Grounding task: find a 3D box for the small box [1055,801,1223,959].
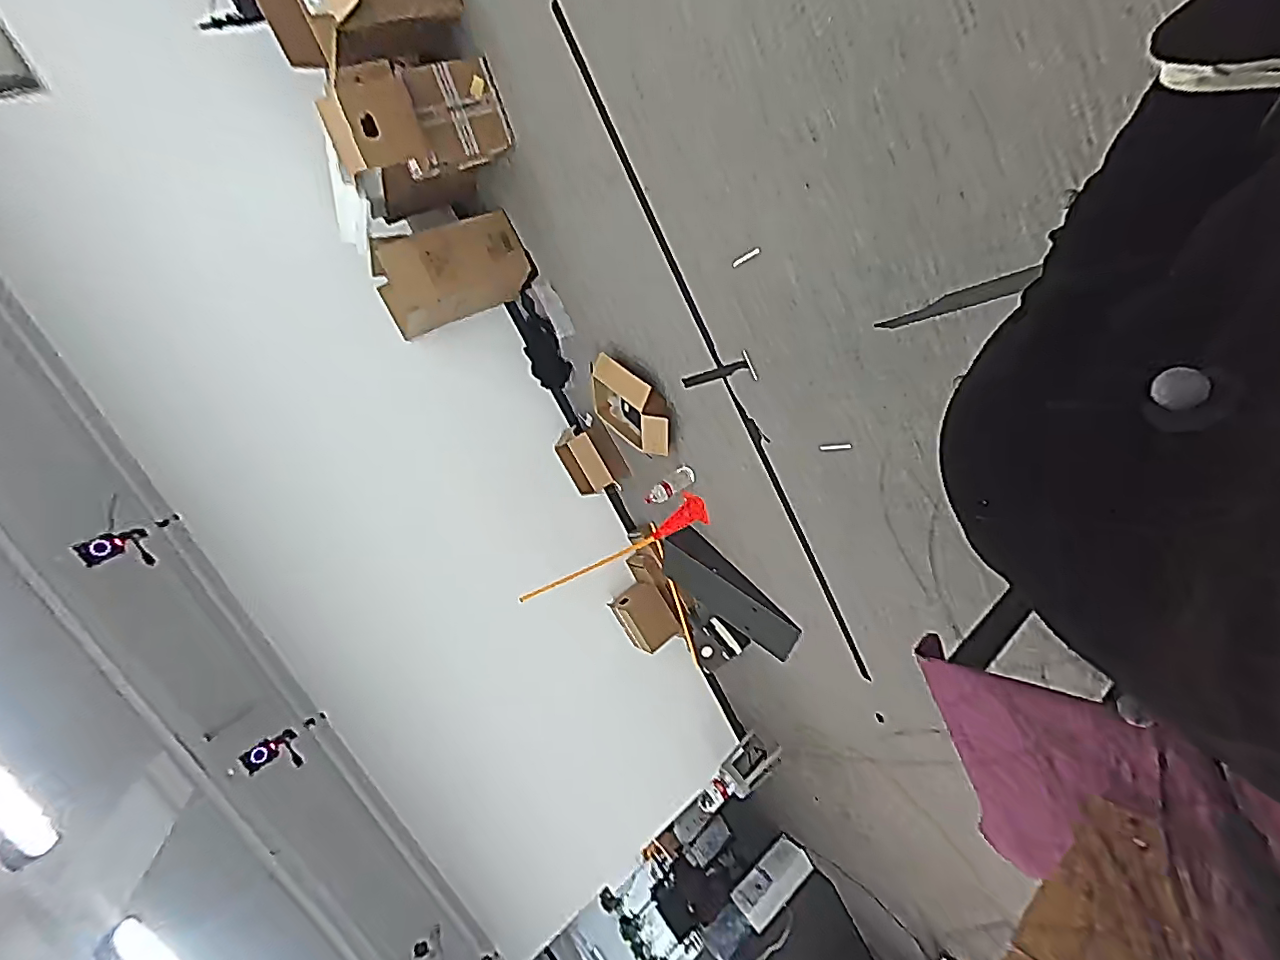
[{"bbox_3d":[0.864,0.713,0.935,0.168,0.176,0.179,8,127,60],"label":"small box"}]
